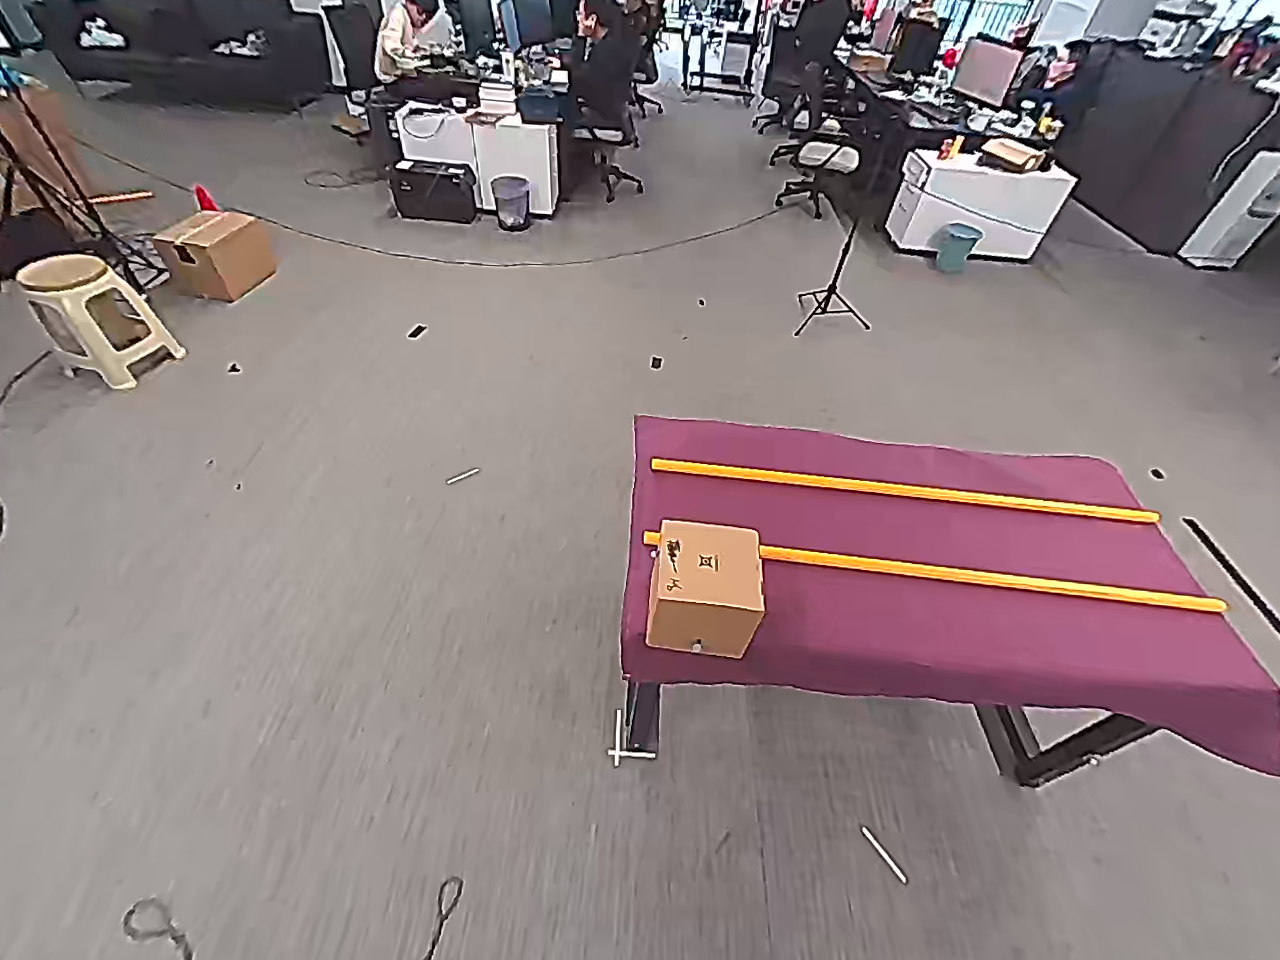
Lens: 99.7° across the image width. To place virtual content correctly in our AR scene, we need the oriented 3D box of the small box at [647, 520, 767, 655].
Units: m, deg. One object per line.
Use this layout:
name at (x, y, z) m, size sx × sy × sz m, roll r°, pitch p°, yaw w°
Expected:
small box at (0.115, 0.196, 0.966) m, size 0.179 × 0.176 × 0.168 m, roll 8°, pitch 46°, yaw 0°
